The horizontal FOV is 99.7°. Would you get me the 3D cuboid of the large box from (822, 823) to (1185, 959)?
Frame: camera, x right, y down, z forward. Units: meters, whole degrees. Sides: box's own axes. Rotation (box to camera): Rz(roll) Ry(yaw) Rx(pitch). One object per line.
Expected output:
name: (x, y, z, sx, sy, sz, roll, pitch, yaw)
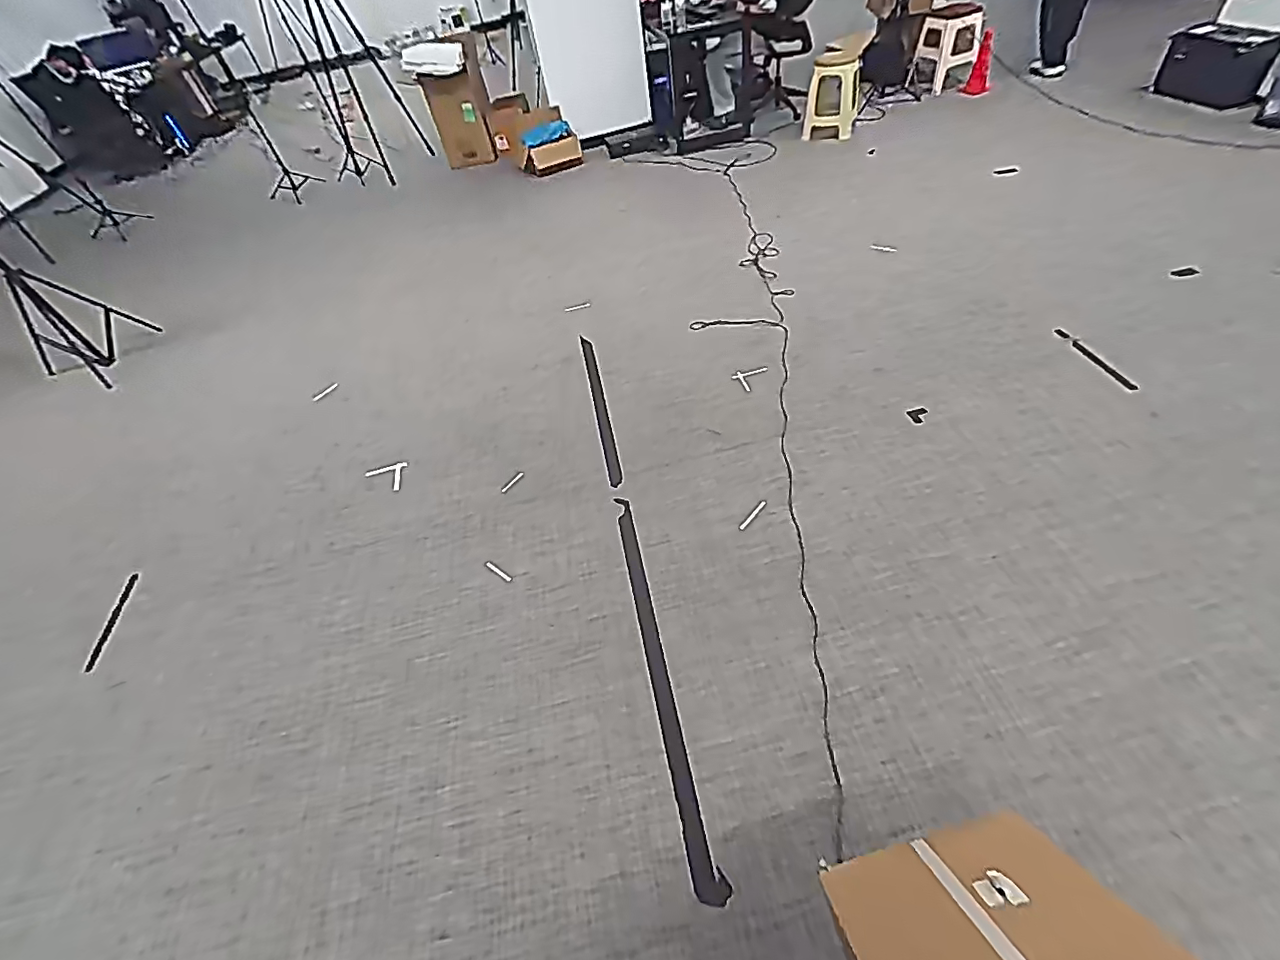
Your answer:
large box: (0.461, 0.688, 0.611, 0.320, 0.408, 0.320, -16, 84, 0)
